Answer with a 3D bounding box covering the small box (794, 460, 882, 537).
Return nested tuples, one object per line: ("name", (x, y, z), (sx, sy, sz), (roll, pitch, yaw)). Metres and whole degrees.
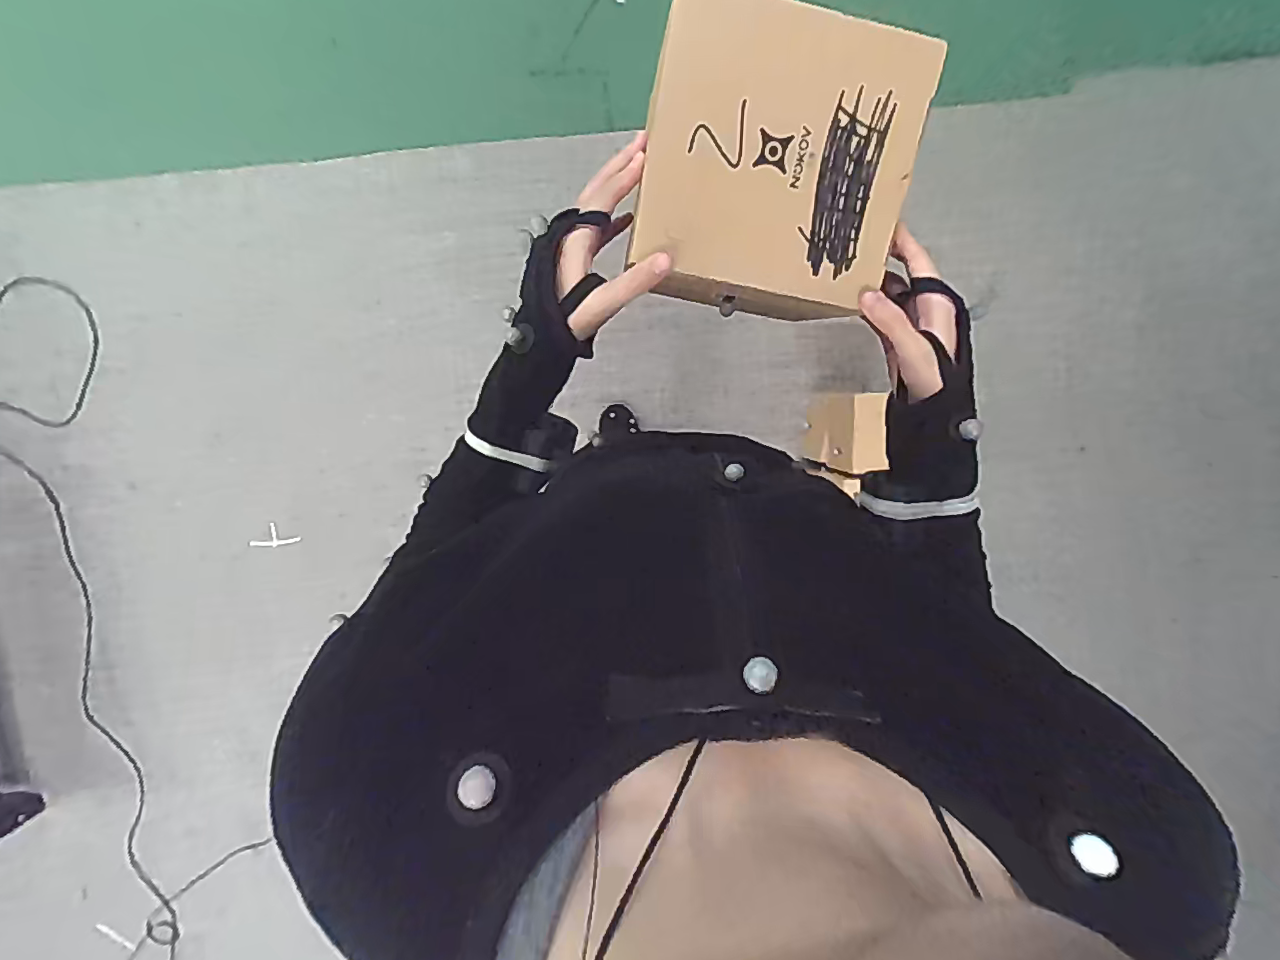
("small box", (0.516, 0.045, 1.424), (0.179, 0.176, 0.168), (-5, 100, 3))
